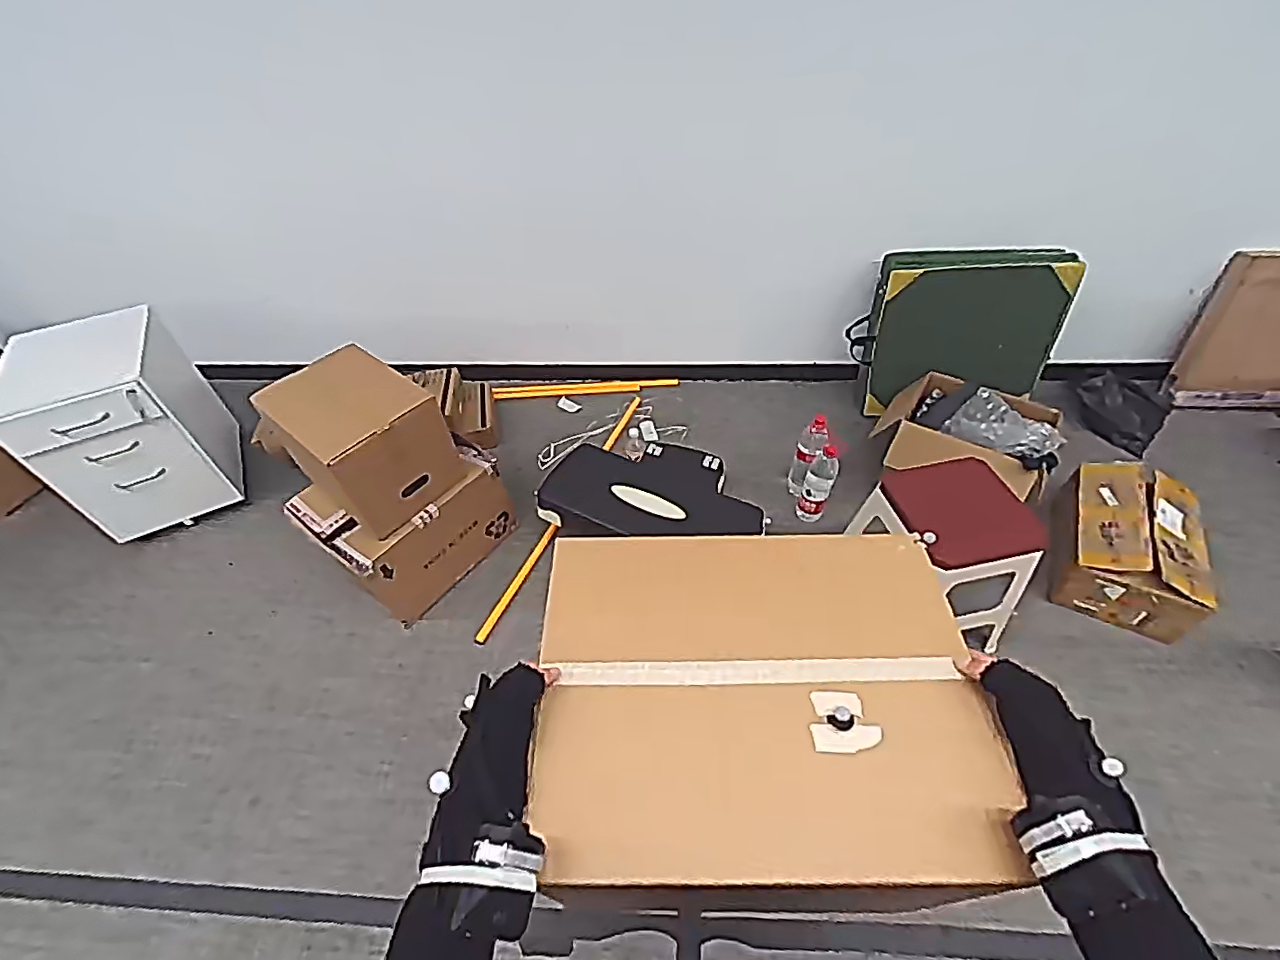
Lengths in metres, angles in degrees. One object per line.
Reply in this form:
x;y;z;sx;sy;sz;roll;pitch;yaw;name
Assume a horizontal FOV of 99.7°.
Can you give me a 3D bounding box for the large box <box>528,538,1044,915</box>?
0.110;0.283;0.617;0.408;0.320;0.320;-1;49;1;large box
